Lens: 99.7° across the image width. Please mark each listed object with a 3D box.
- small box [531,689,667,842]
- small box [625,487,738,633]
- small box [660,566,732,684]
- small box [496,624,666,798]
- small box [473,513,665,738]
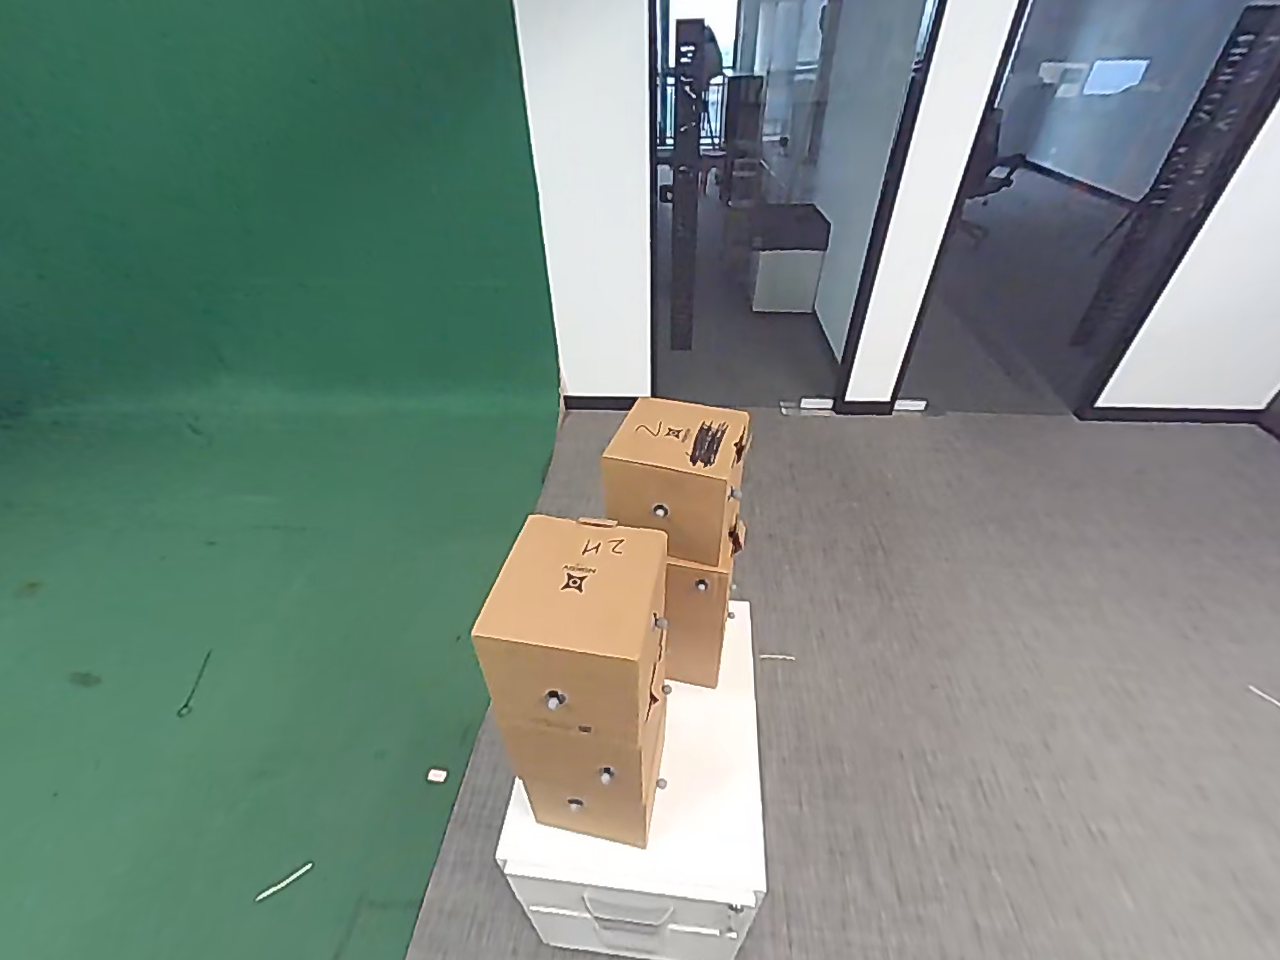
[{"bbox_3d":[-0.061,0.420,0.825,0.179,0.176,0.168,8,40,9],"label":"small box"},{"bbox_3d":[0.064,0.136,0.913,0.179,0.176,0.168,8,41,10],"label":"small box"},{"bbox_3d":[0.071,0.259,1.019,0.179,0.176,0.168,8,41,11],"label":"small box"},{"bbox_3d":[-0.065,0.296,0.721,0.179,0.176,0.168,6,38,10],"label":"small box"},{"bbox_3d":[-0.066,0.165,0.620,0.168,0.176,0.179,7,38,8],"label":"small box"}]
